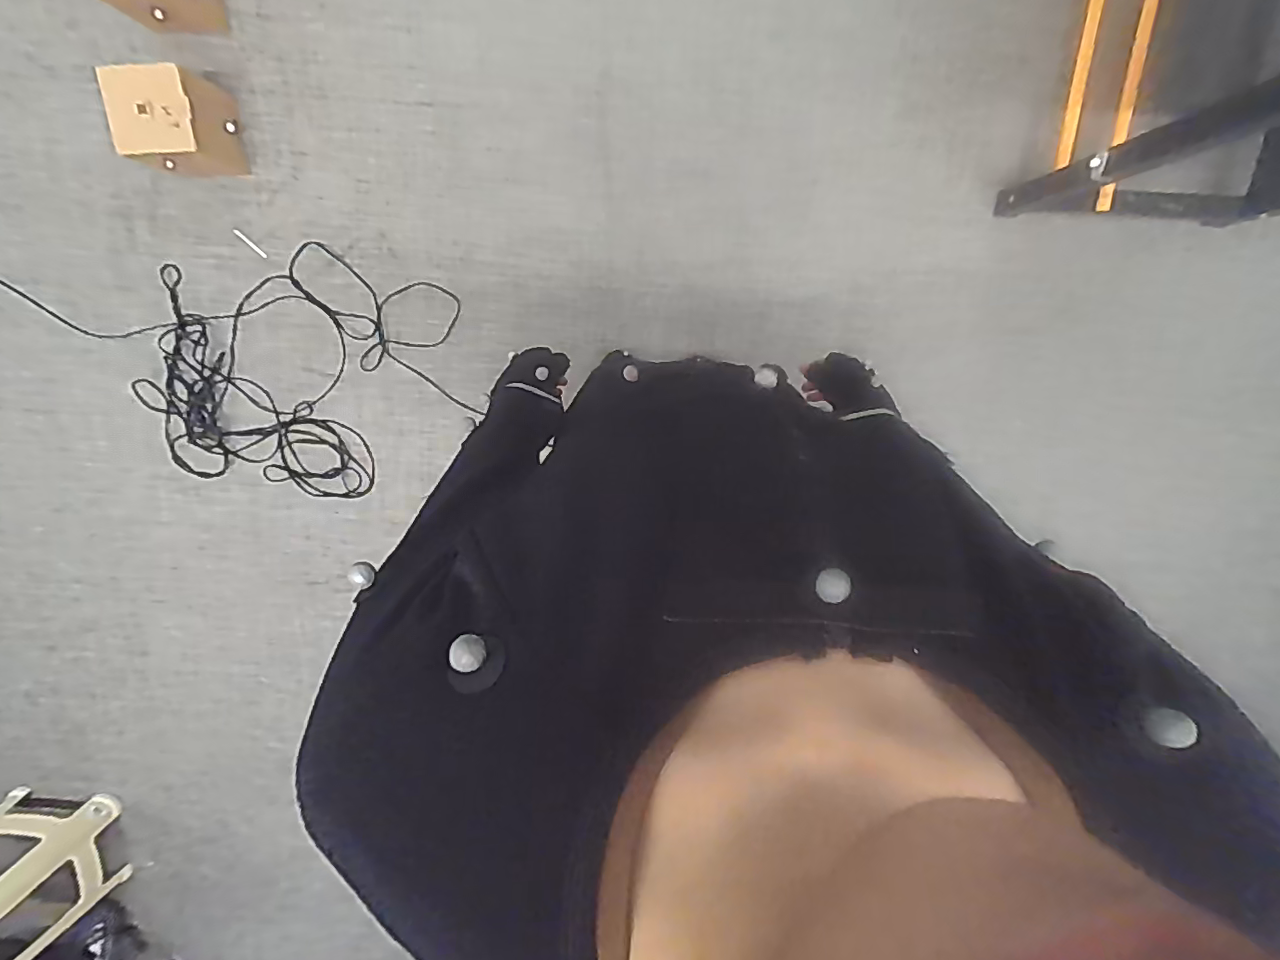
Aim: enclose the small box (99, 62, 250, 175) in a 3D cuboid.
[{"bbox_3d":[-1.028,-0.798,1.210,0.179,0.176,0.168,-2,105,0],"label":"small box"}]
